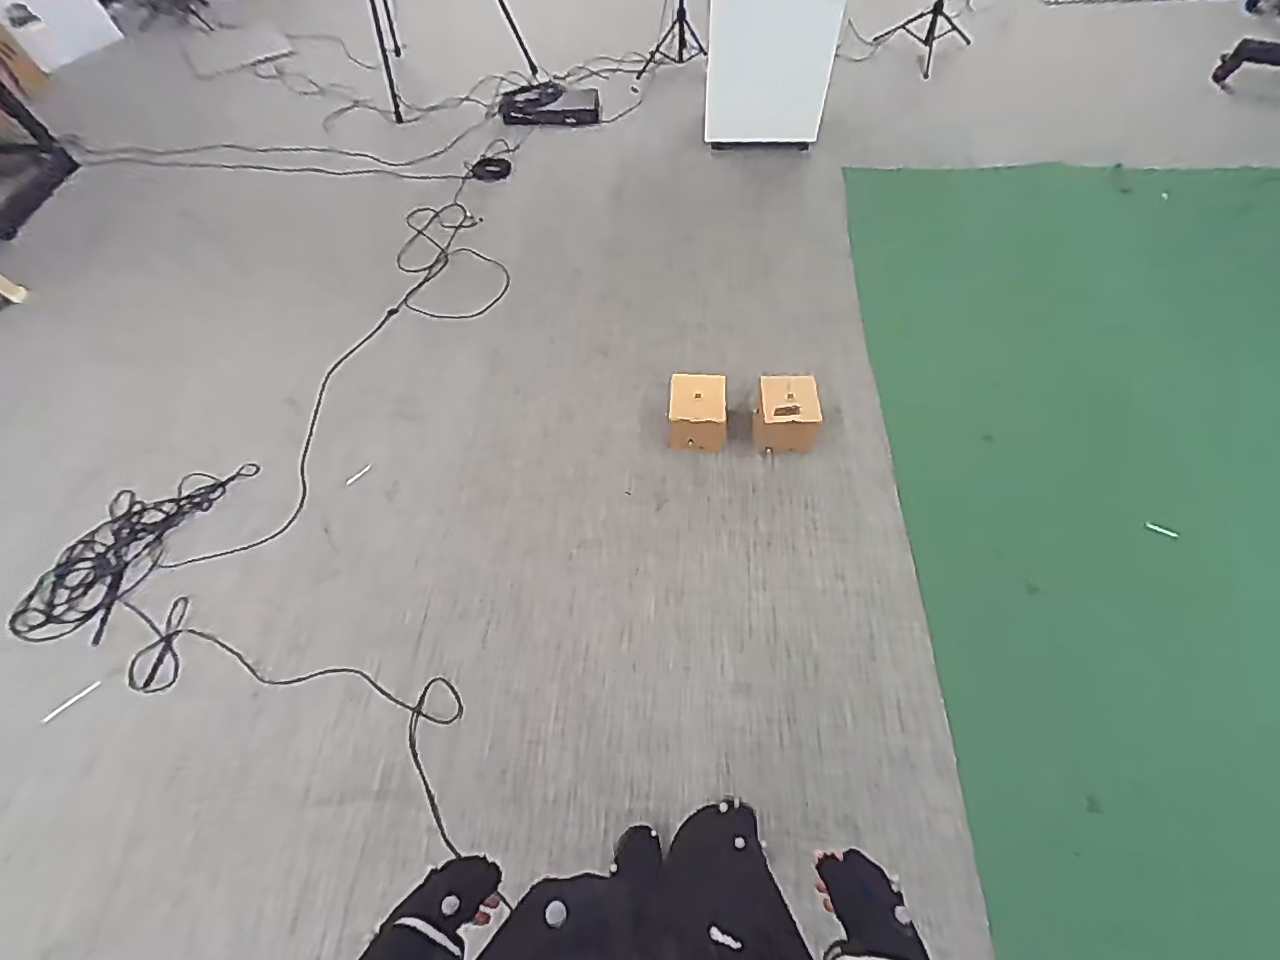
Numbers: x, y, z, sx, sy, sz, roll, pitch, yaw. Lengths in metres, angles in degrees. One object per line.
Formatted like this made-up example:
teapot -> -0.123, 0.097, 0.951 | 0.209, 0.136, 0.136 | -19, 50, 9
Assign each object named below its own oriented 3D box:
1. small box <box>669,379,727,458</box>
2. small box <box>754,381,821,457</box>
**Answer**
small box -> 0.178, -0.189, 1.677 | 0.168, 0.176, 0.179 | 3, 60, 5
small box -> 0.446, -0.181, 1.657 | 0.168, 0.176, 0.179 | 0, 59, 3
